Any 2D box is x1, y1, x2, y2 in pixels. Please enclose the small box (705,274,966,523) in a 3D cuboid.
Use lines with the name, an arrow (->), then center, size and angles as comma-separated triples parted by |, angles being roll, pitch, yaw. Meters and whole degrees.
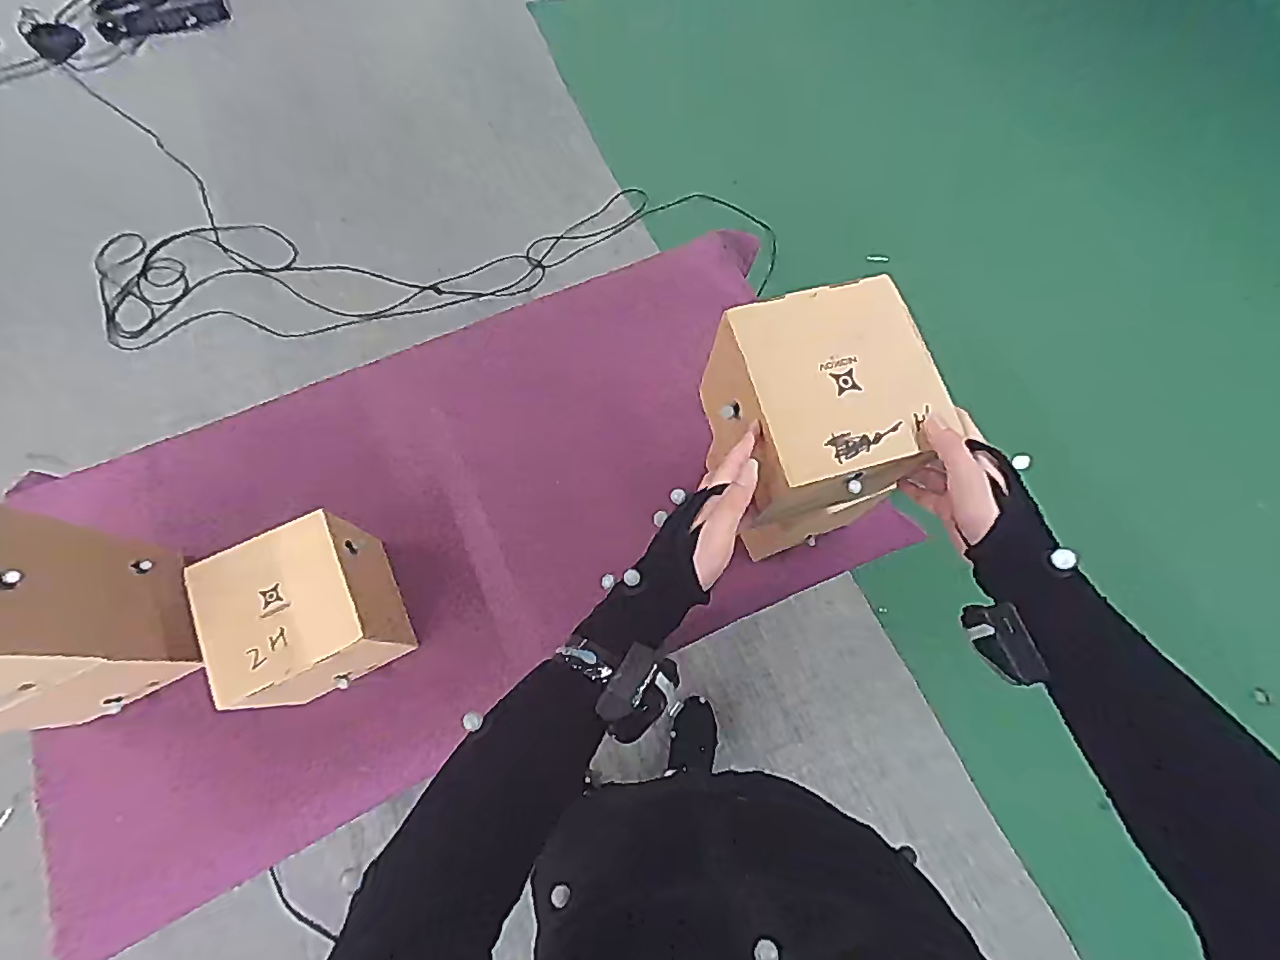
small box -> 0.174, -0.072, 0.549 | 0.168, 0.176, 0.179 | -14, 75, -6

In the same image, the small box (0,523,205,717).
small box -> -0.701, 0.182, 0.681 | 0.168, 0.176, 0.179 | -26, 74, -10

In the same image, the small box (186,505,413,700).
small box -> -0.422, 0.161, 0.694 | 0.168, 0.176, 0.179 | -25, 73, -9

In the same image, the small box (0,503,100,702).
small box -> -0.697, 0.127, 0.527 | 0.168, 0.176, 0.179 | -27, 74, -9
